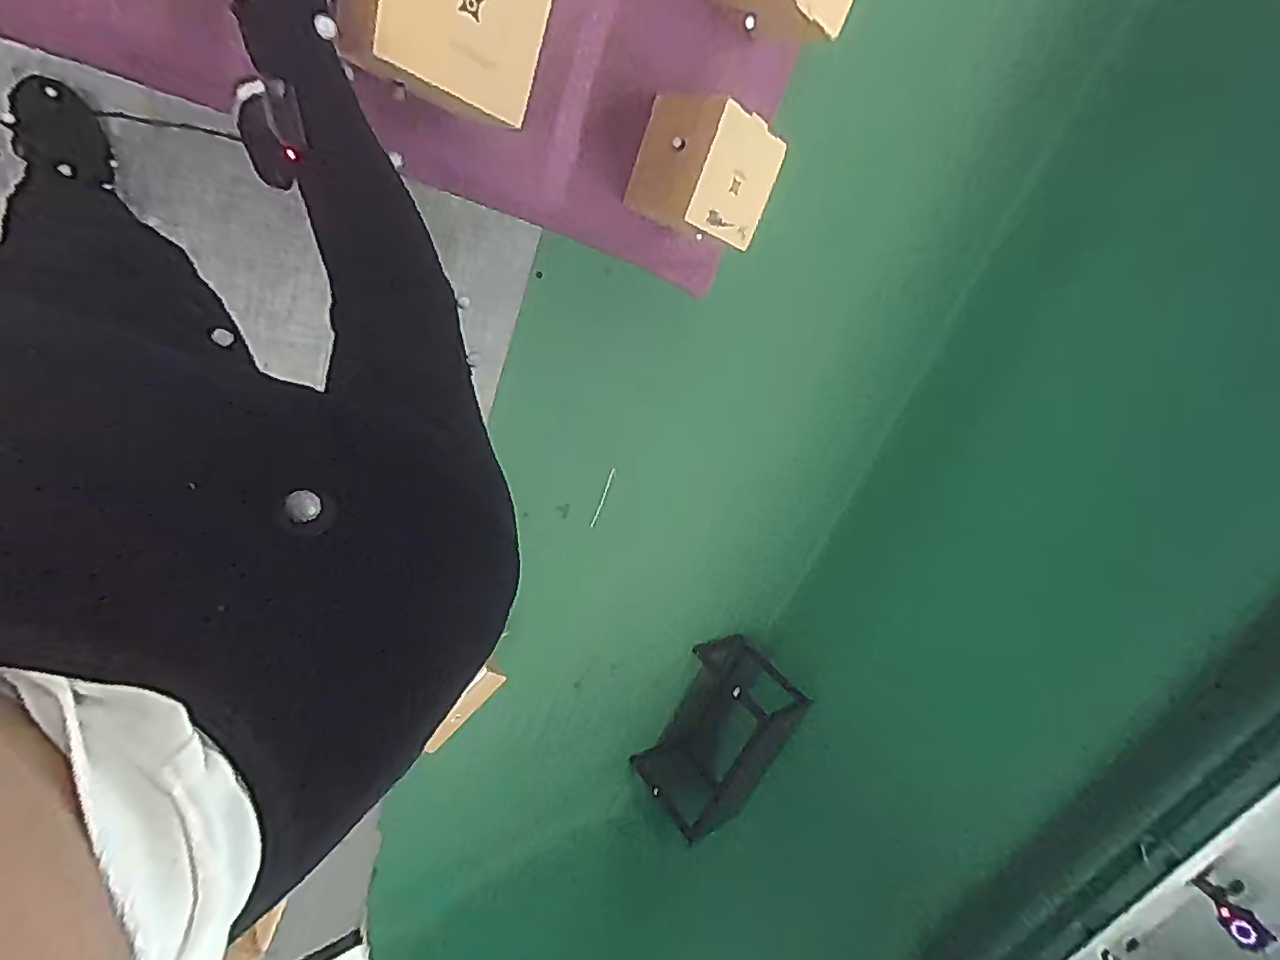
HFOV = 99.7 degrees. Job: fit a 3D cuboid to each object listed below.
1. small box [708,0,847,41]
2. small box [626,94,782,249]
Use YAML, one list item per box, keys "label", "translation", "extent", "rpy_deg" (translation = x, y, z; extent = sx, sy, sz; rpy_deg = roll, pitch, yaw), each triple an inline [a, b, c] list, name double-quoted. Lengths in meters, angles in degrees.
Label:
- label: "small box"
  translation: [0.215, -0.794, 0.801]
  extent: [0.168, 0.176, 0.179]
  rpy_deg: [0, 121, -41]
- label: "small box"
  translation: [0.101, -0.519, 0.916]
  extent: [0.168, 0.176, 0.179]
  rpy_deg: [1, 117, -44]
